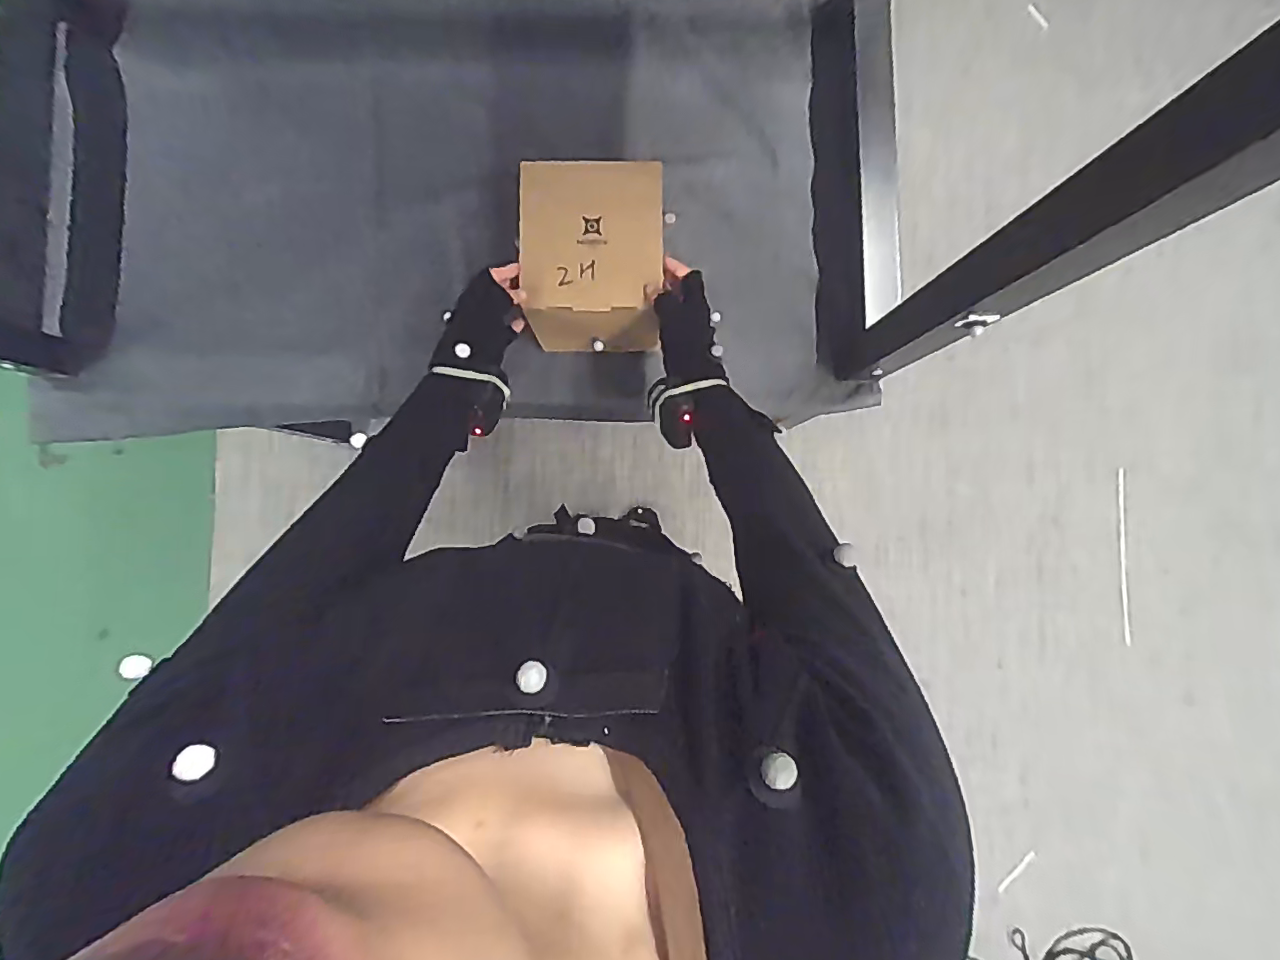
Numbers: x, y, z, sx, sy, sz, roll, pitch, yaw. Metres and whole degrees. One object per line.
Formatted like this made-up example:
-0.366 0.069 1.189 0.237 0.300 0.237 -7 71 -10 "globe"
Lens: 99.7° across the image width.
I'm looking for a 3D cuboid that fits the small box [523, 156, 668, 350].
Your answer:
-0.051 -0.279 0.694 0.168 0.176 0.179 0 86 0 "small box"
